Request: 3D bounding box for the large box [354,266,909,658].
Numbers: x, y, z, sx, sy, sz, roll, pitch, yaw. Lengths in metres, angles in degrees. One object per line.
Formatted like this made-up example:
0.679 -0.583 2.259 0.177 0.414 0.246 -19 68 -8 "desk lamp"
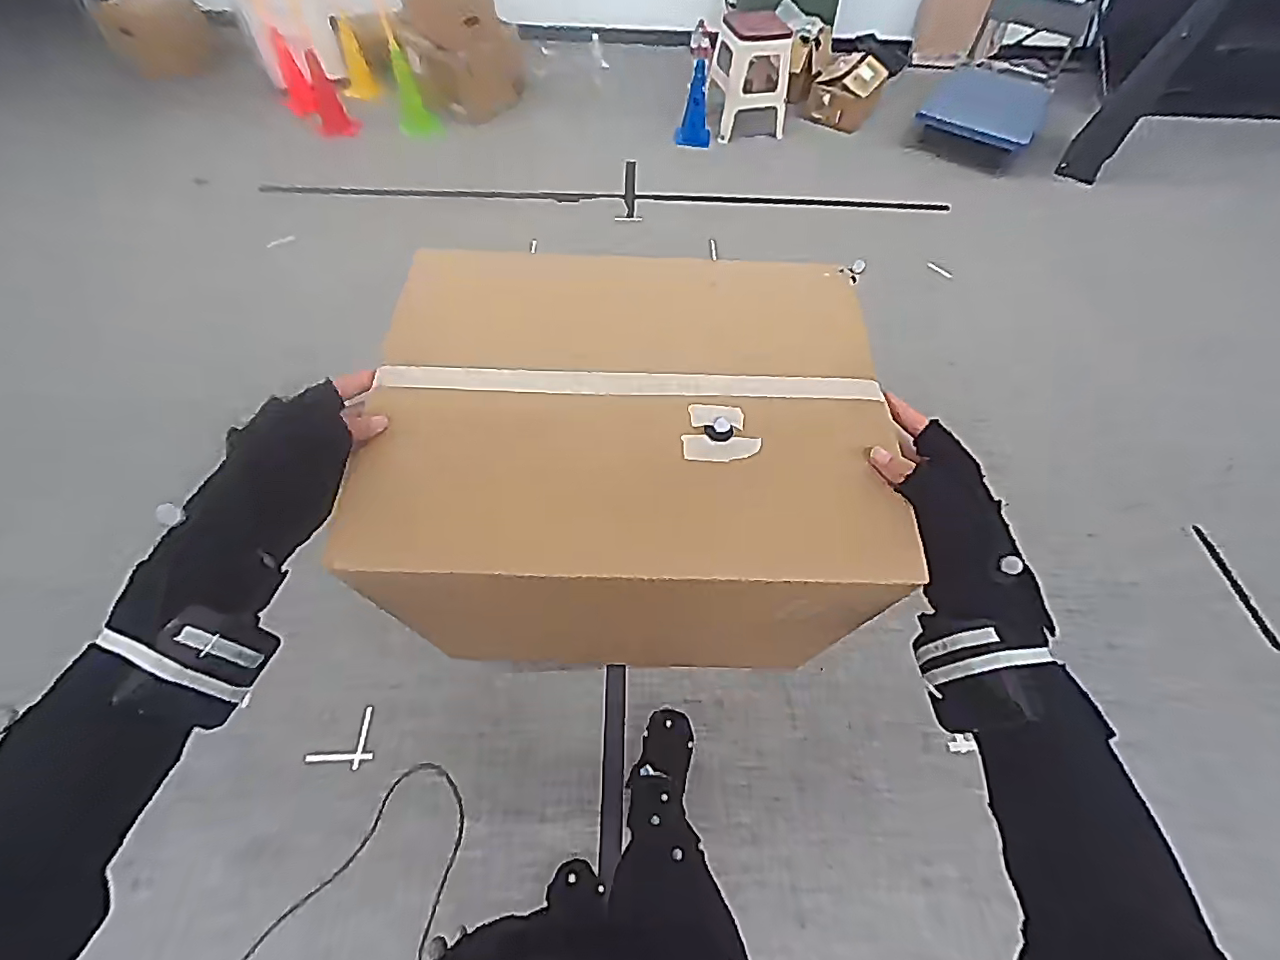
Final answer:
-0.009 0.003 0.582 0.408 0.320 0.320 2 61 -2 "large box"
